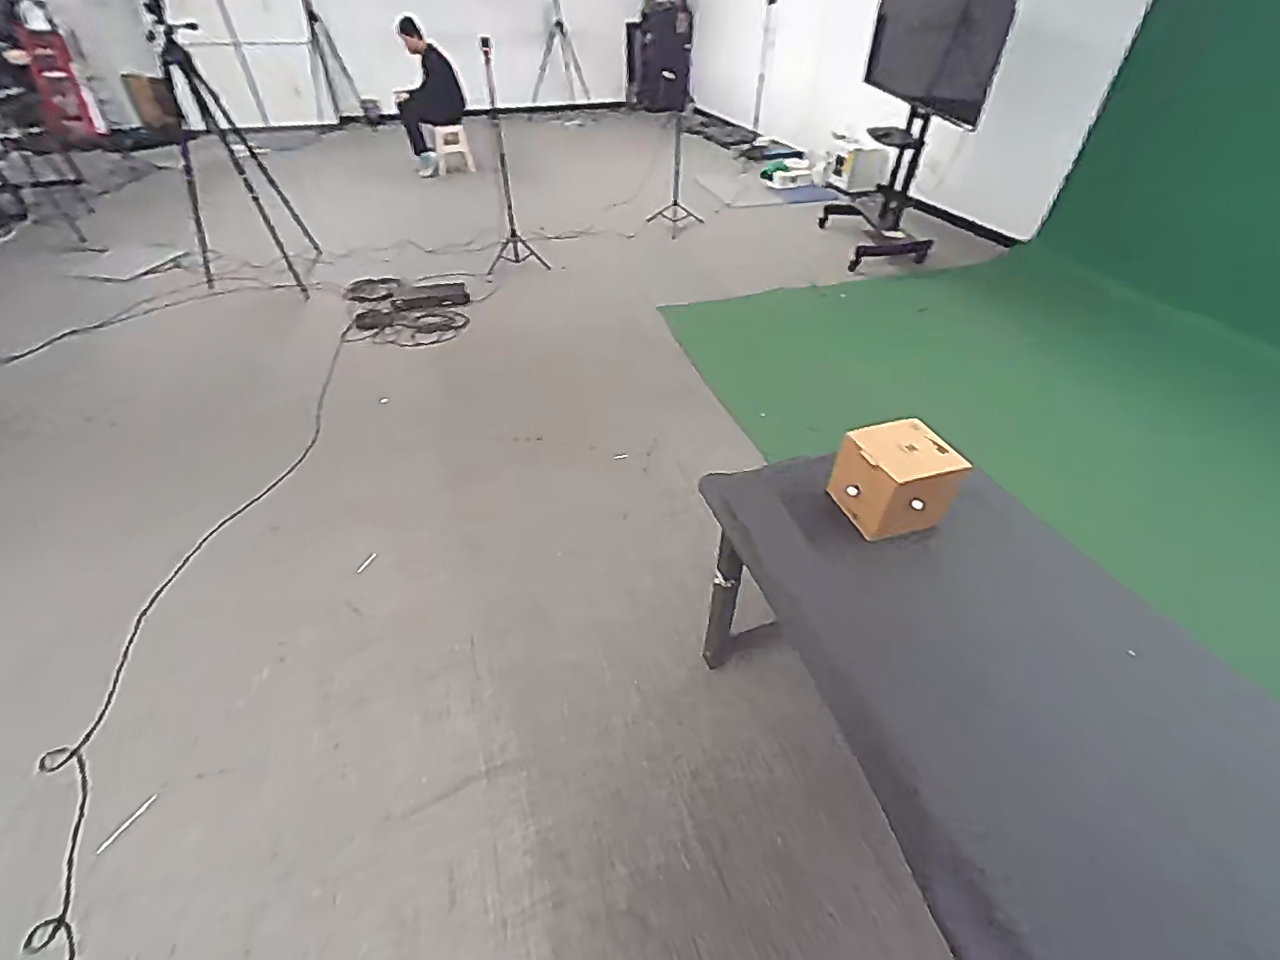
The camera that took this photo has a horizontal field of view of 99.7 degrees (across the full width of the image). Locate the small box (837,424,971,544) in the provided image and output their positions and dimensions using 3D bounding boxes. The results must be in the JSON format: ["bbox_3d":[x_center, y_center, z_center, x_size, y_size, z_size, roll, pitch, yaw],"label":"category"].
[{"bbox_3d":[0.533,0.011,1.127,0.179,0.176,0.168,-12,44,-13],"label":"small box"}]
